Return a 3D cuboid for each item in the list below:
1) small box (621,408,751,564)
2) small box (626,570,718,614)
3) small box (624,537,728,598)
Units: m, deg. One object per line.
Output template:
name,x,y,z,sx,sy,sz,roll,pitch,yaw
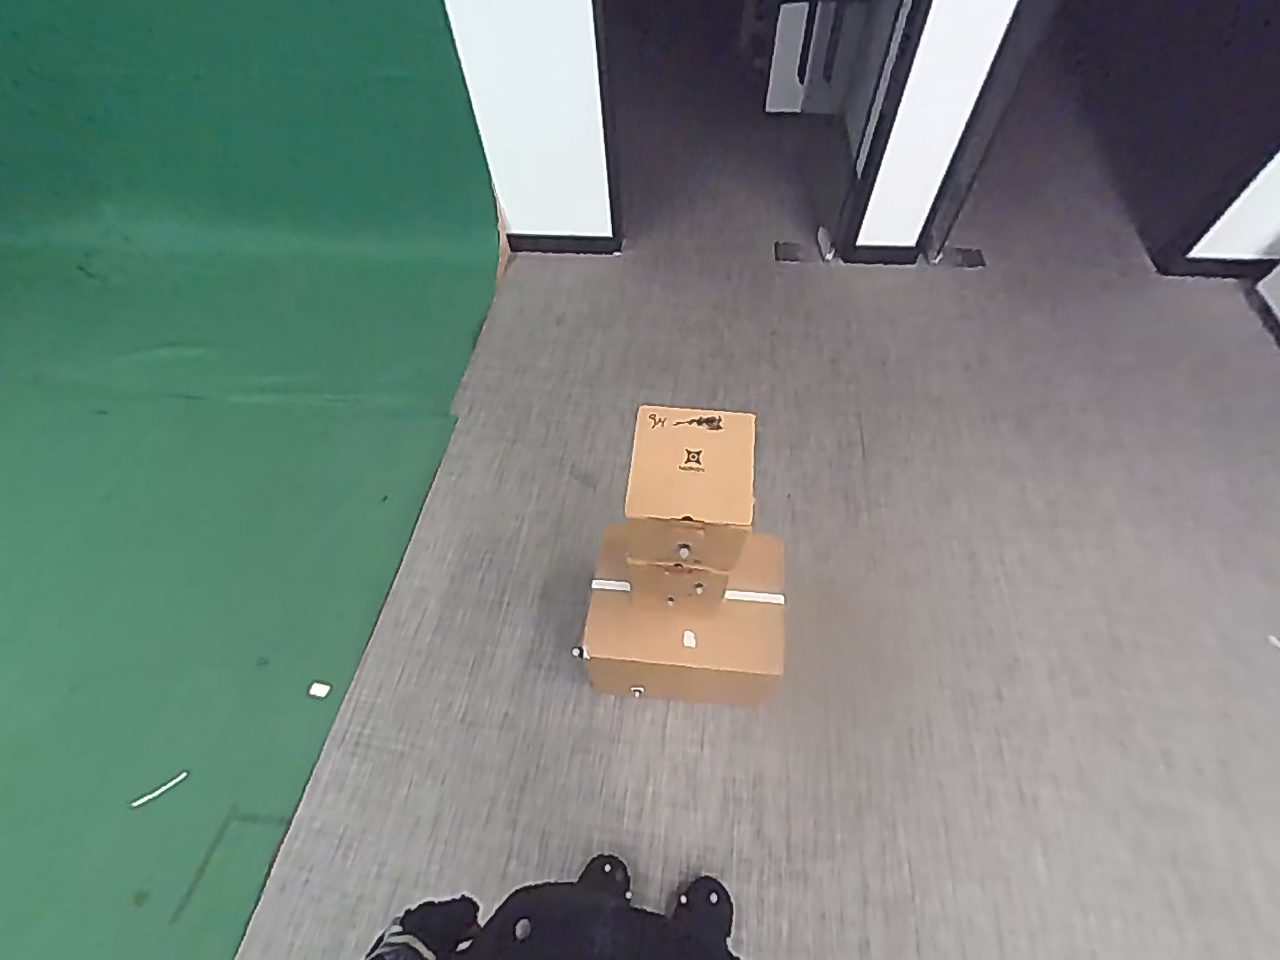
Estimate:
small box,0.069,0.015,0.805,0.168,0.176,0.179,5,64,5
small box,0.078,0.160,1.093,0.179,0.176,0.168,10,62,9
small box,0.068,0.097,0.947,0.168,0.176,0.179,5,62,4
